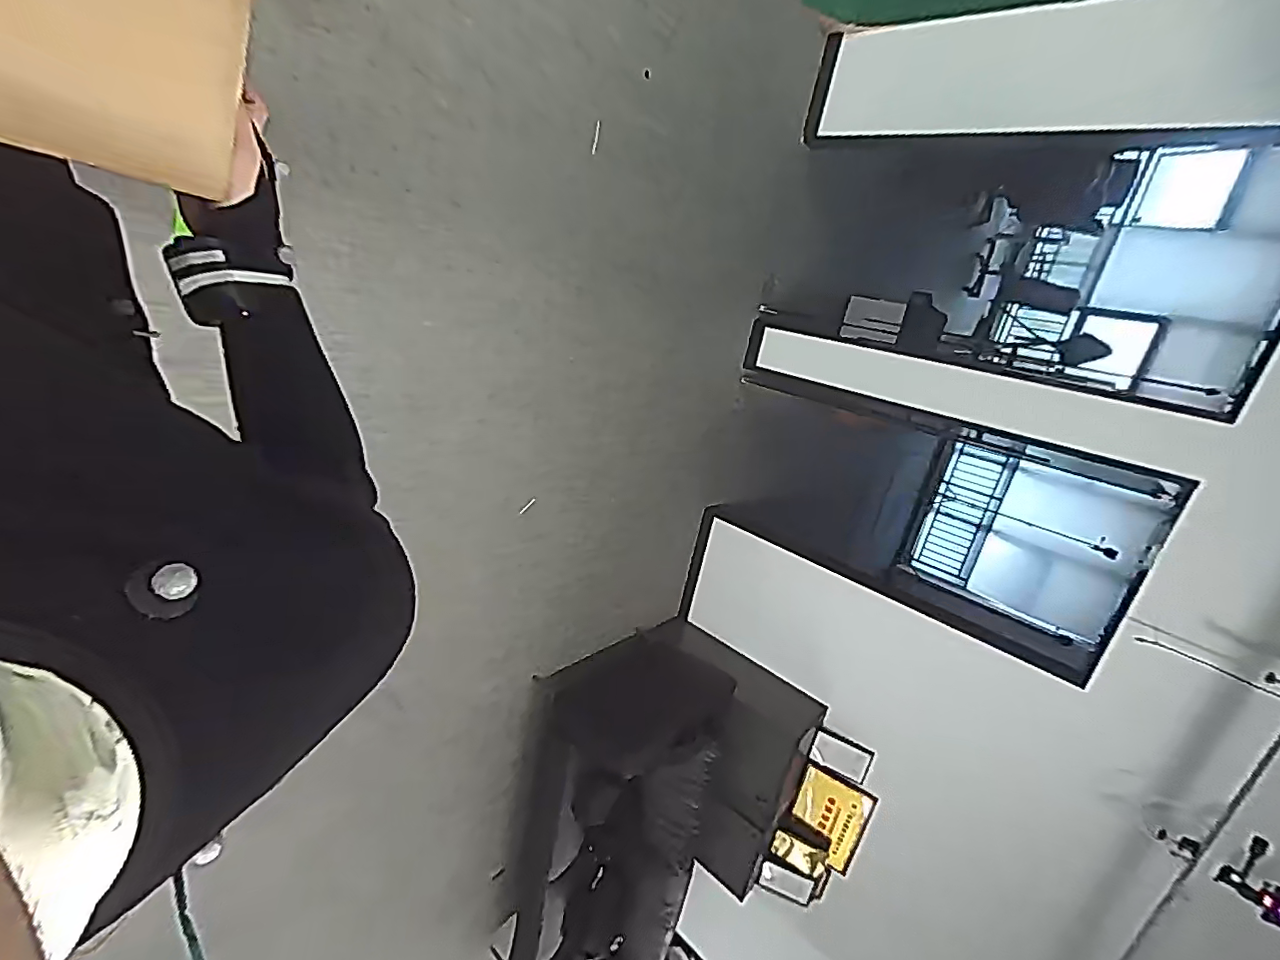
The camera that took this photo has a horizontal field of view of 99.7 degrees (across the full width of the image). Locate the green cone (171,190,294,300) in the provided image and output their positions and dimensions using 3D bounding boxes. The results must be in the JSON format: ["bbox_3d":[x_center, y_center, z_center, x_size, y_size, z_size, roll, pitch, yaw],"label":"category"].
[{"bbox_3d":[-0.833,-0.486,1.165,0.200,0.368,0.202,-1,110,-53],"label":"green cone"}]
